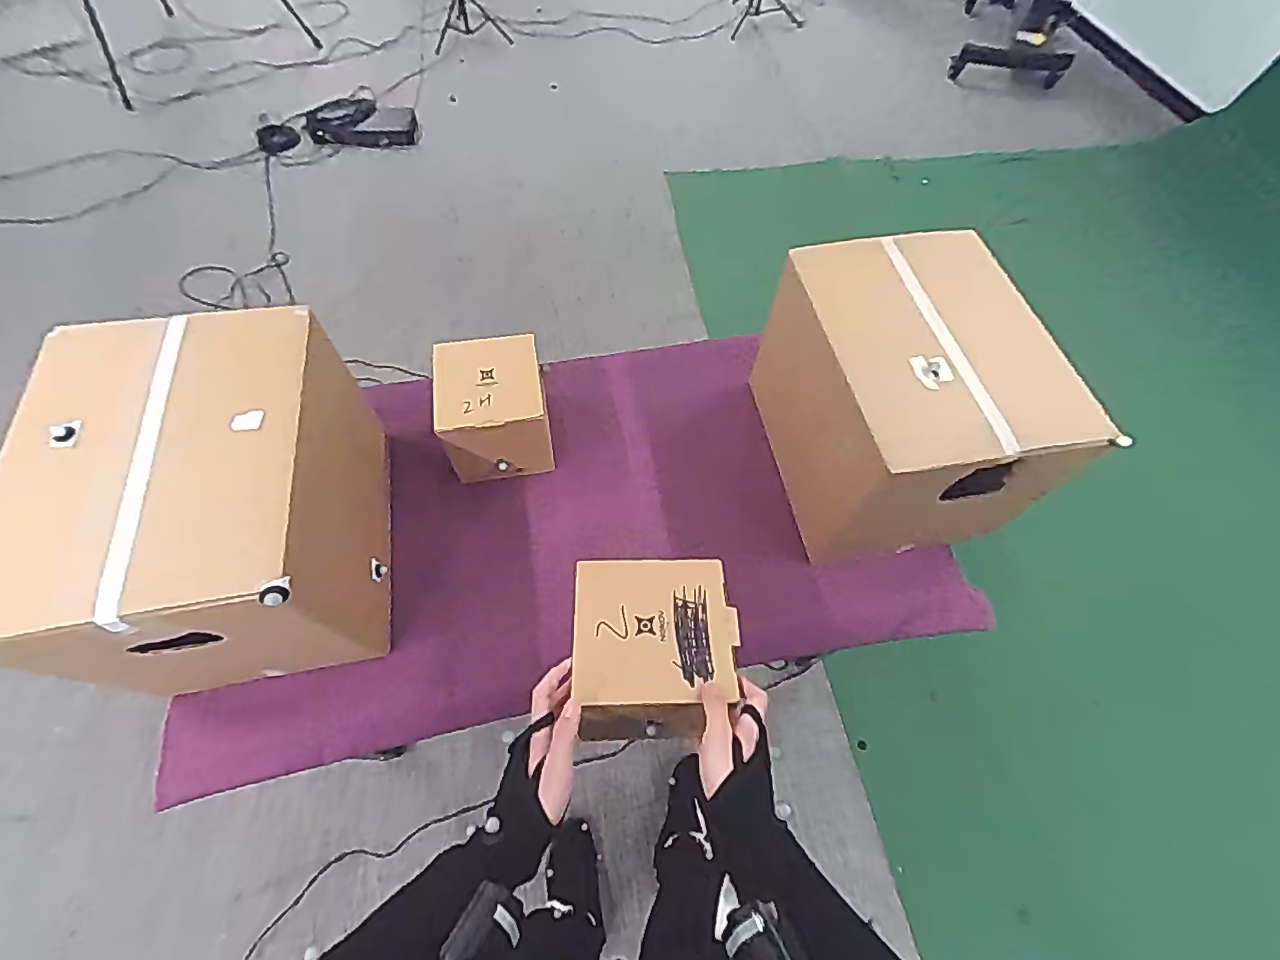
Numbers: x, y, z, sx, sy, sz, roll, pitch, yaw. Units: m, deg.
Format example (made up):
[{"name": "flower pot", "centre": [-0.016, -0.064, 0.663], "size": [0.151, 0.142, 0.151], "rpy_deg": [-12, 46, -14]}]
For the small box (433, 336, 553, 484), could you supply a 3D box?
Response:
[{"name": "small box", "centre": [-0.245, -0.116, 0.918], "size": [0.168, 0.176, 0.179], "rpy_deg": [-9, 62, -7]}]

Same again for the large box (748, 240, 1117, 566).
[{"name": "large box", "centre": [0.402, -0.117, 0.874], "size": [0.320, 0.320, 0.408], "rpy_deg": [-9, 62, -6]}]
